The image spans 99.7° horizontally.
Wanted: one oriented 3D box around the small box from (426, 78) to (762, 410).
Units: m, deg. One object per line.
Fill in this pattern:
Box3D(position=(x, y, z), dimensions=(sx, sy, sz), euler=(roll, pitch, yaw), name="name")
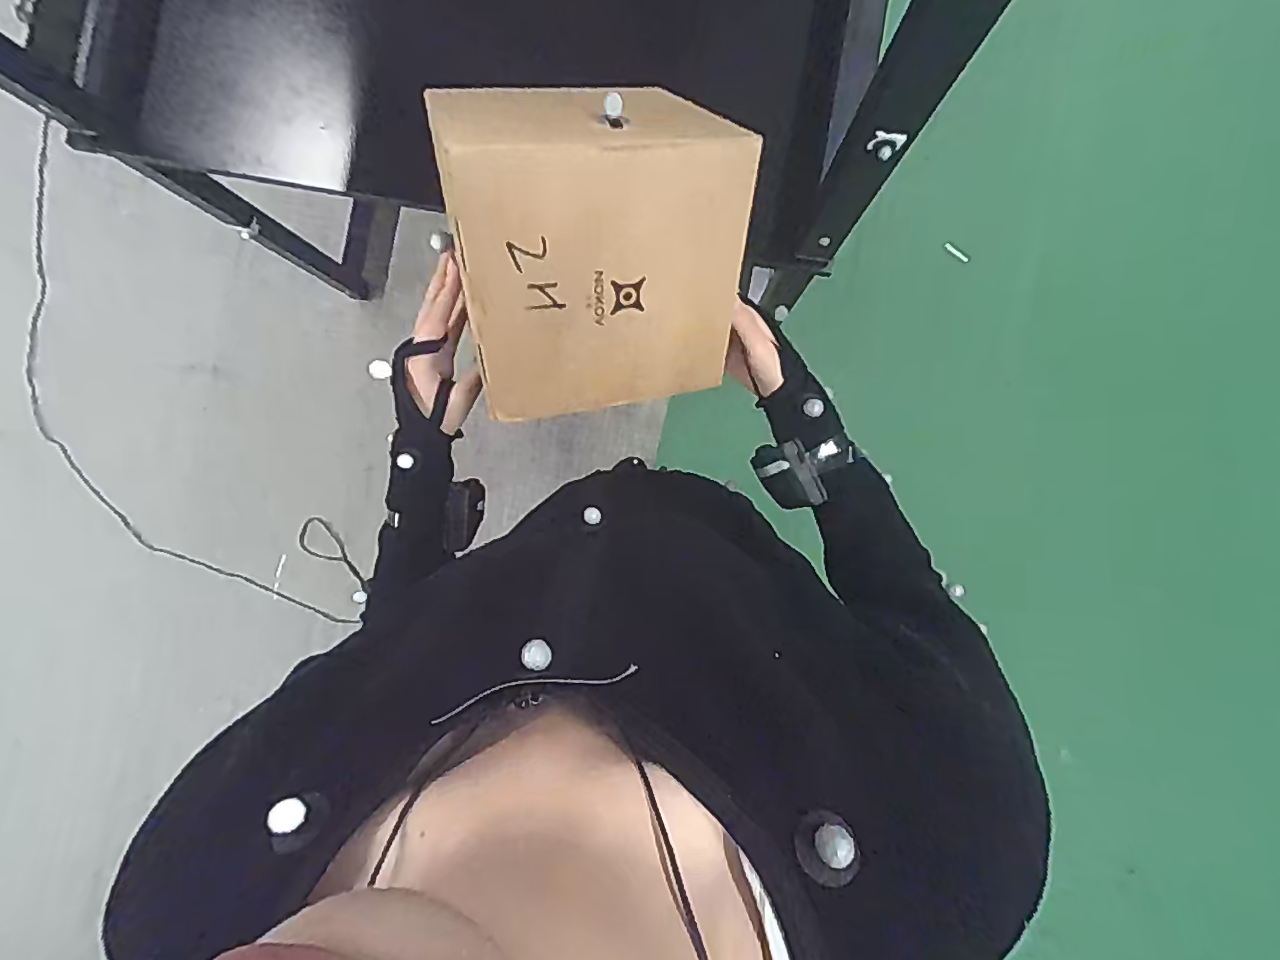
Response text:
Box3D(position=(-0.043, -0.173, 0.385), dimensions=(0.179, 0.168, 0.176), euler=(-10, 44, -16), name="small box")
